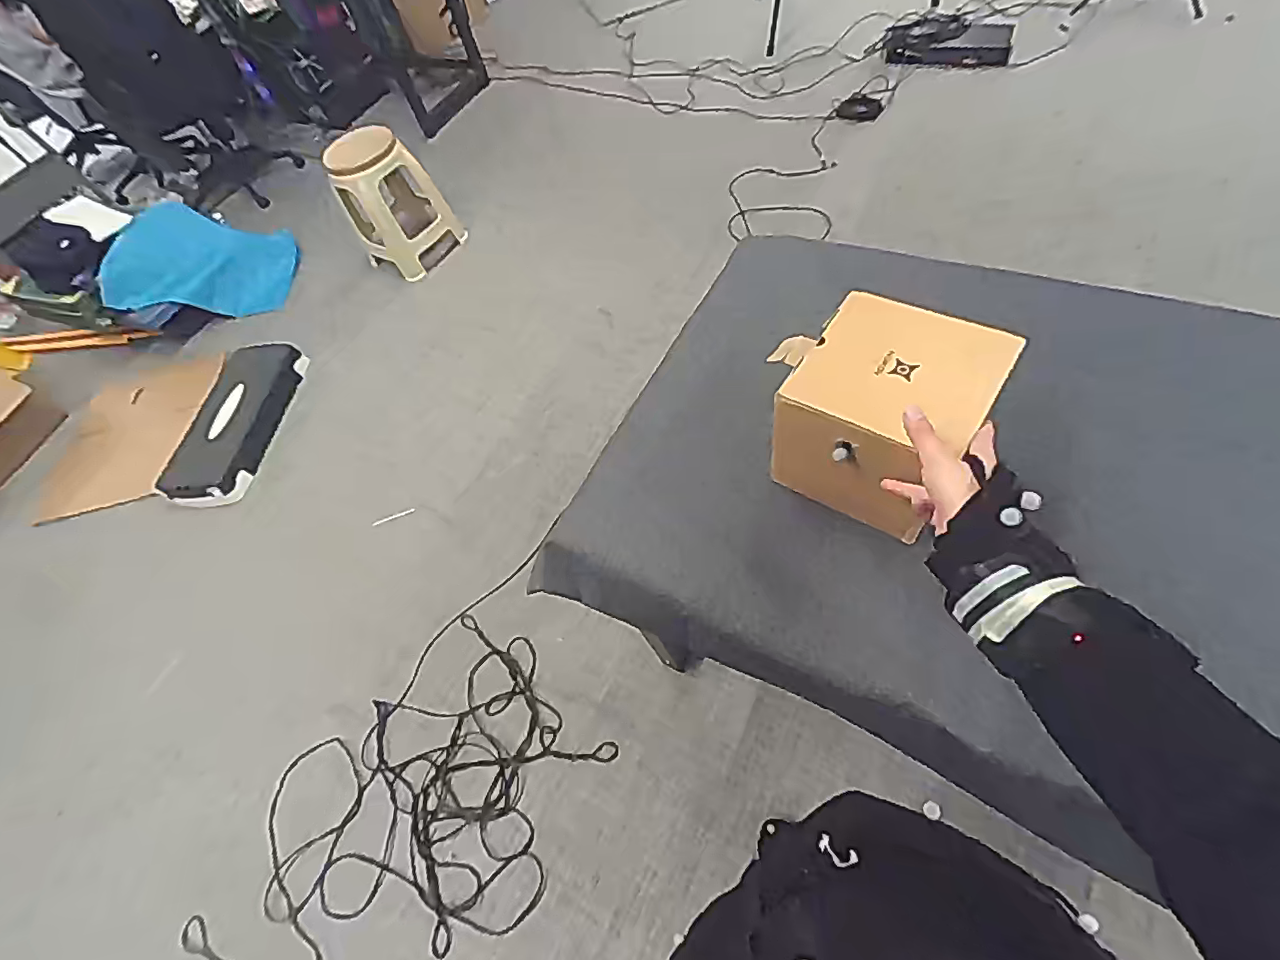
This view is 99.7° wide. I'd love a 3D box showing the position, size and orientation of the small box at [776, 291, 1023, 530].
[{"bbox_3d":[0.265,-0.068,0.592,0.179,0.176,0.168,28,68,26],"label":"small box"}]
